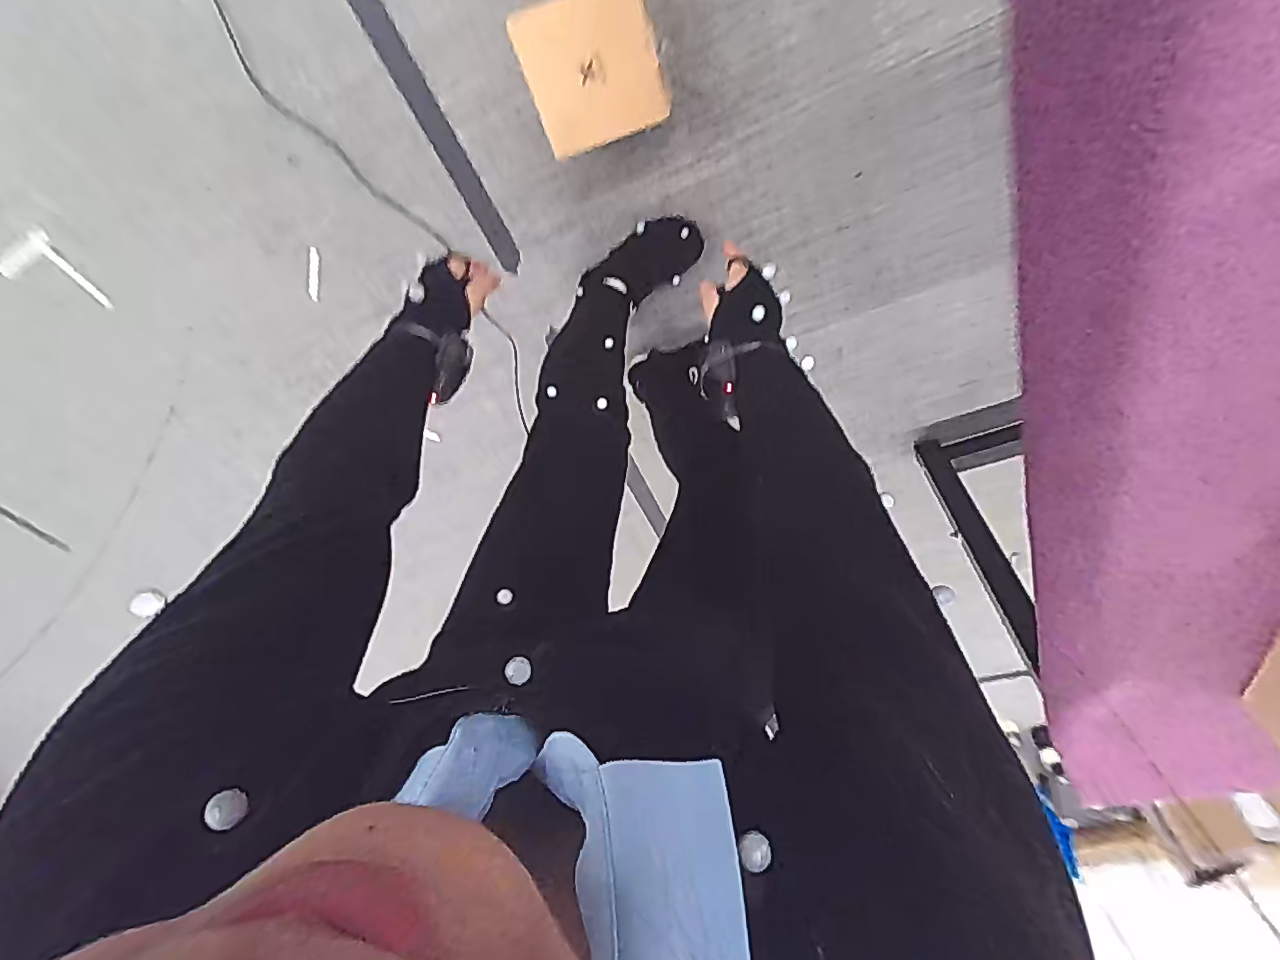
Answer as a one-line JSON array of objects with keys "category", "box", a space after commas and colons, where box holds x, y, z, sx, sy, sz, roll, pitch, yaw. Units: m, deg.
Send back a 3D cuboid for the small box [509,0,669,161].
[{"category": "small box", "box": [-0.060, -0.593, 0.781, 0.179, 0.176, 0.168, -13, 130, 14]}]
